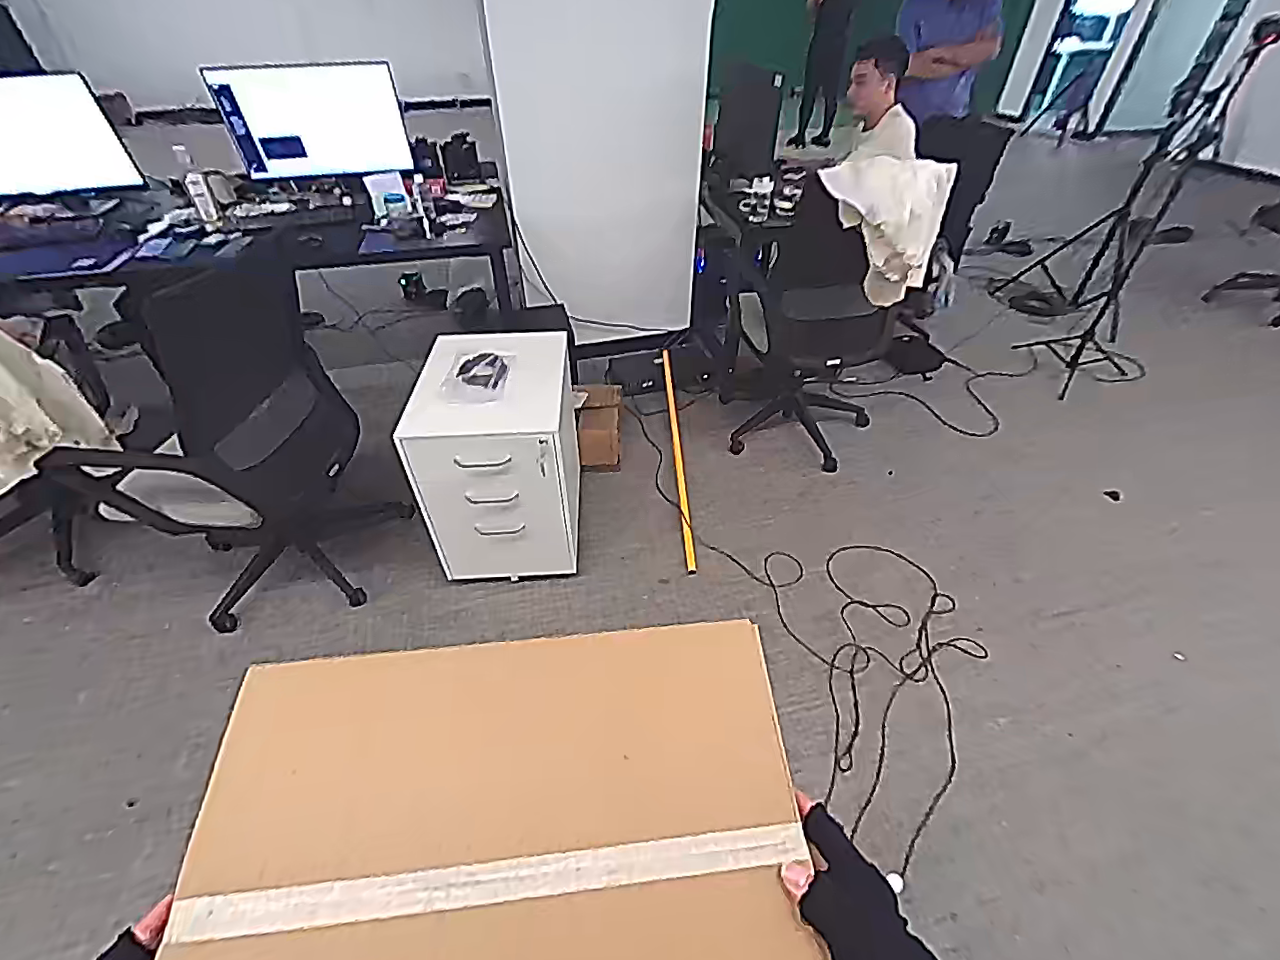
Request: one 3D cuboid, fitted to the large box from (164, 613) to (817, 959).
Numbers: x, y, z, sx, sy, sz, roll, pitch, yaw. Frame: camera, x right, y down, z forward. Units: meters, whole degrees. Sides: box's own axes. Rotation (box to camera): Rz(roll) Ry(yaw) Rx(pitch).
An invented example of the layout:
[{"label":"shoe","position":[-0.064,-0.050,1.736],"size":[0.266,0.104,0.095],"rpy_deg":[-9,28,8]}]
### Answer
[{"label":"large box","position":[-0.096,0.338,0.484],"size":[0.408,0.320,0.320],"rpy_deg":[-4,55,-4]}]
